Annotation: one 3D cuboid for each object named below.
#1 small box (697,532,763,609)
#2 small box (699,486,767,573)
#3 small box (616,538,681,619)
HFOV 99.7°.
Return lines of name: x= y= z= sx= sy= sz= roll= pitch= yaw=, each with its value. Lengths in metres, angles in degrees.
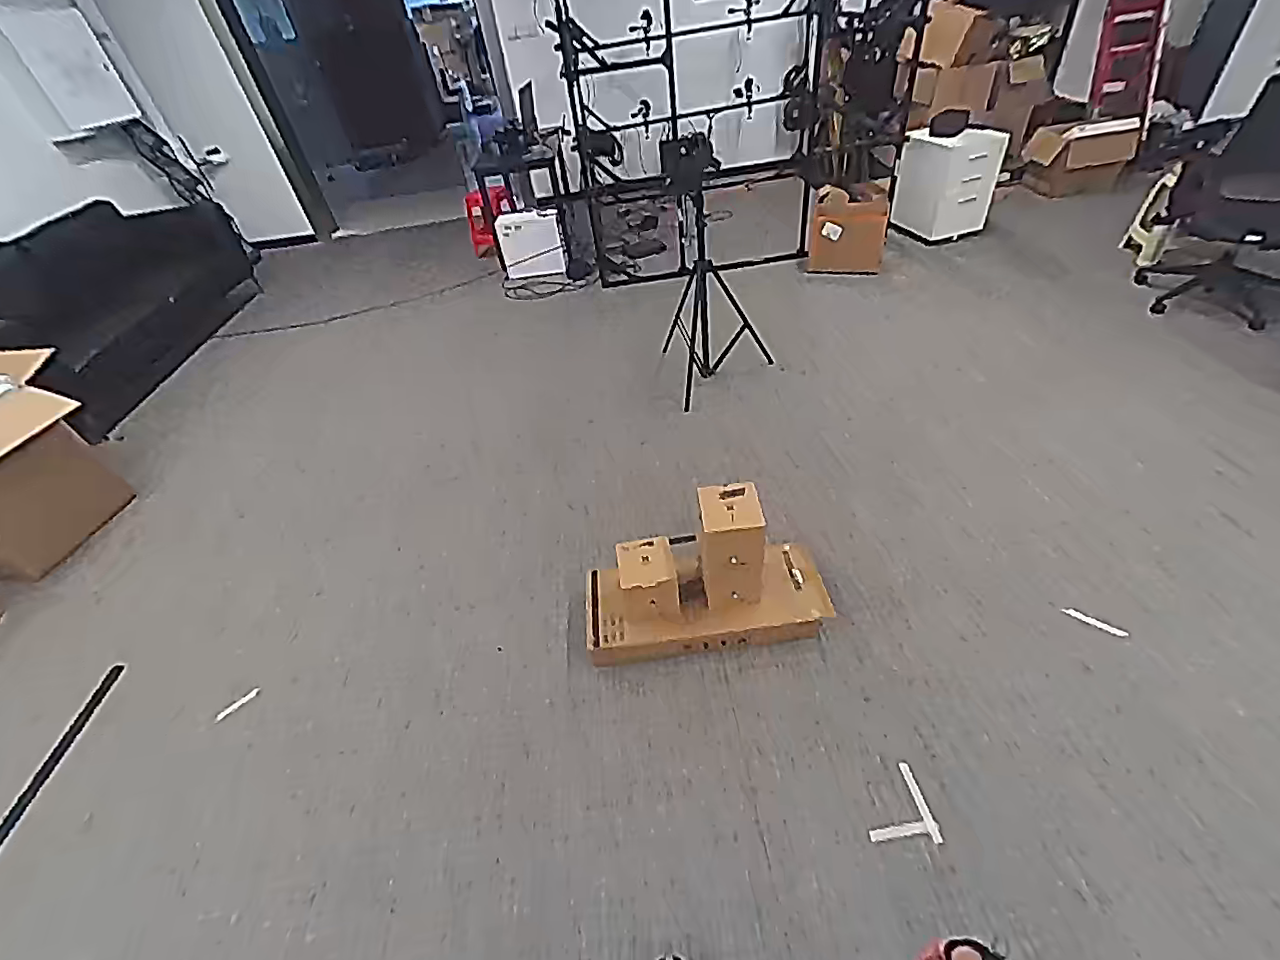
small box: x=0.271 y=0.265 z=1.648 sx=0.168 sy=0.176 sz=0.179 roll=-9 pitch=41 yaw=1
small box: x=0.260 y=0.140 z=1.542 sx=0.168 sy=0.176 sz=0.179 roll=-7 pitch=41 yaw=3
small box: x=0.026 y=0.306 z=1.645 sx=0.168 sy=0.176 sz=0.179 roll=-10 pitch=42 yaw=-1
